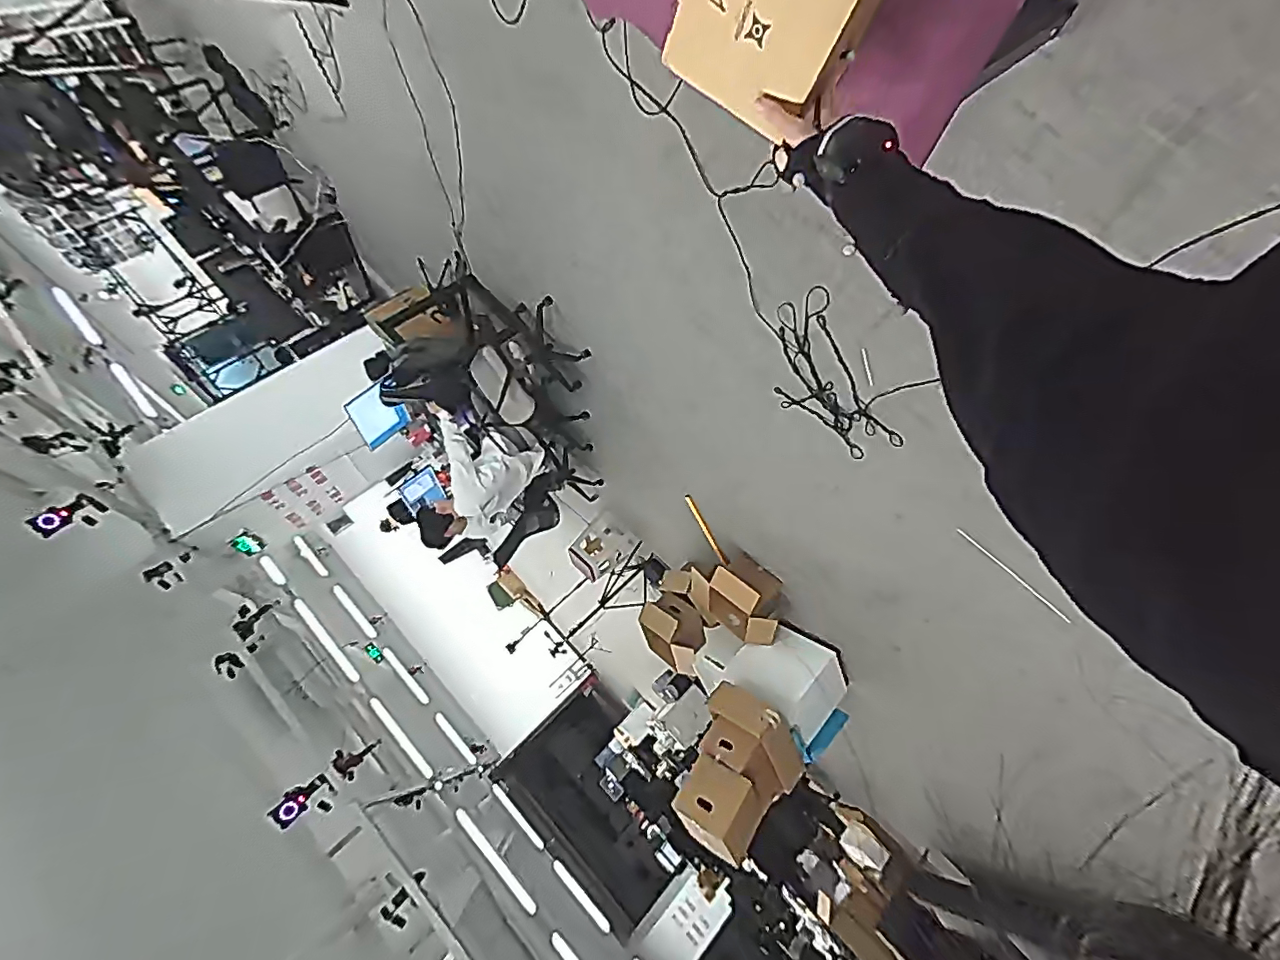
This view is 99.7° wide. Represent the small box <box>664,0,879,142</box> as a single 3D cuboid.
[{"bbox_3d":[0.158,-0.525,0.589,0.179,0.176,0.168,34,152,0],"label":"small box"}]
